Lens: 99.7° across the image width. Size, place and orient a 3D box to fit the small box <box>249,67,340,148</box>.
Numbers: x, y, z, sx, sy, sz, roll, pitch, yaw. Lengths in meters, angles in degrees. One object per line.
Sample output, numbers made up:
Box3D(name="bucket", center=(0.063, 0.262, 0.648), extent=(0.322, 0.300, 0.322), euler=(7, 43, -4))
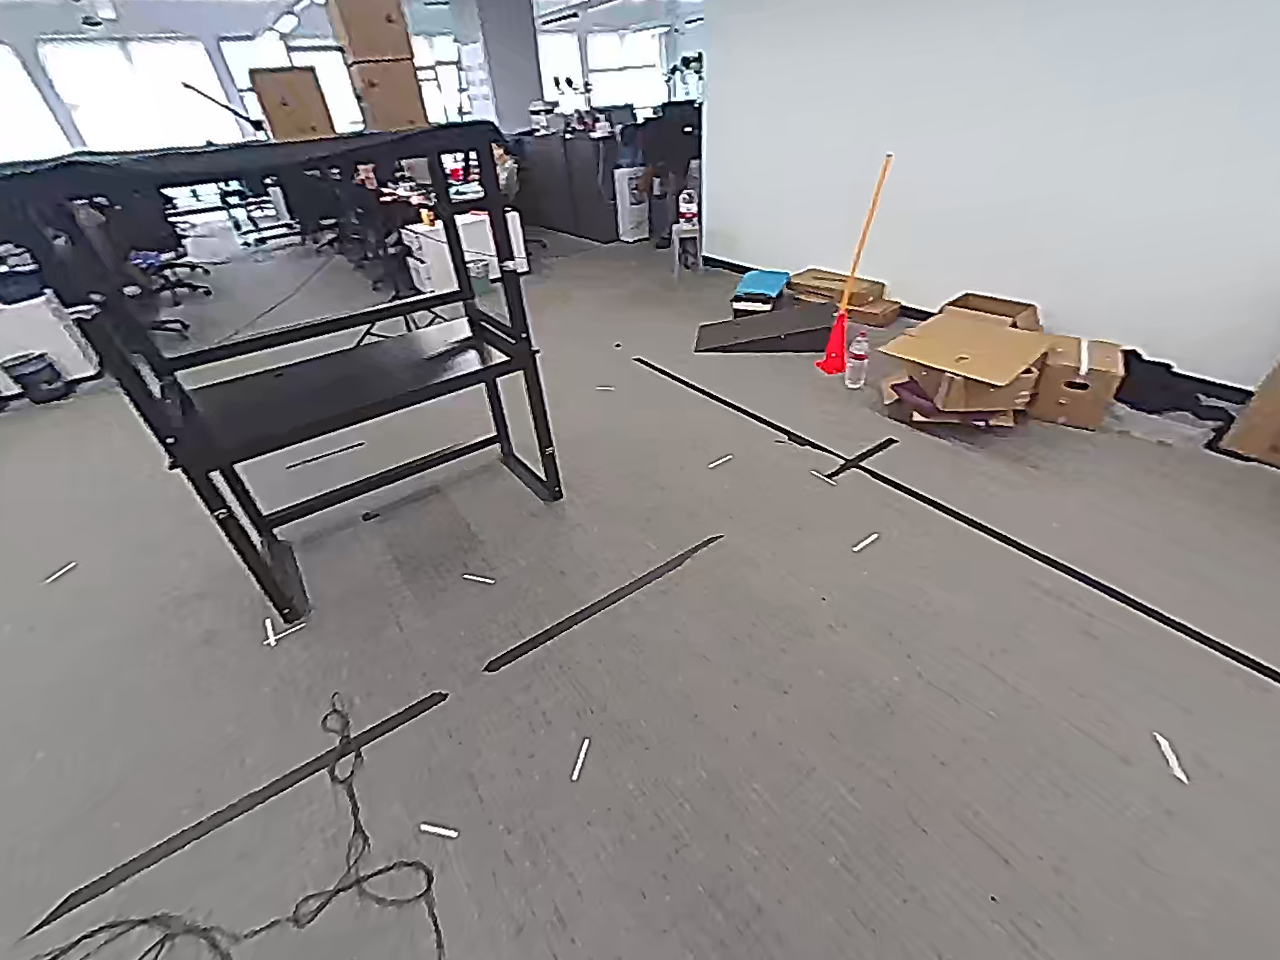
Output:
Box3D(name="small box", center=(-0.962, -1.038, 1.512), extent=(0.168, 0.176, 0.179), euler=(-23, 38, -24))

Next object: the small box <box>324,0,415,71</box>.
Box3D(name="small box", center=(-0.752, -1.262, 1.515), extent=(0.179, 0.176, 0.168), euler=(-26, 38, -25))
